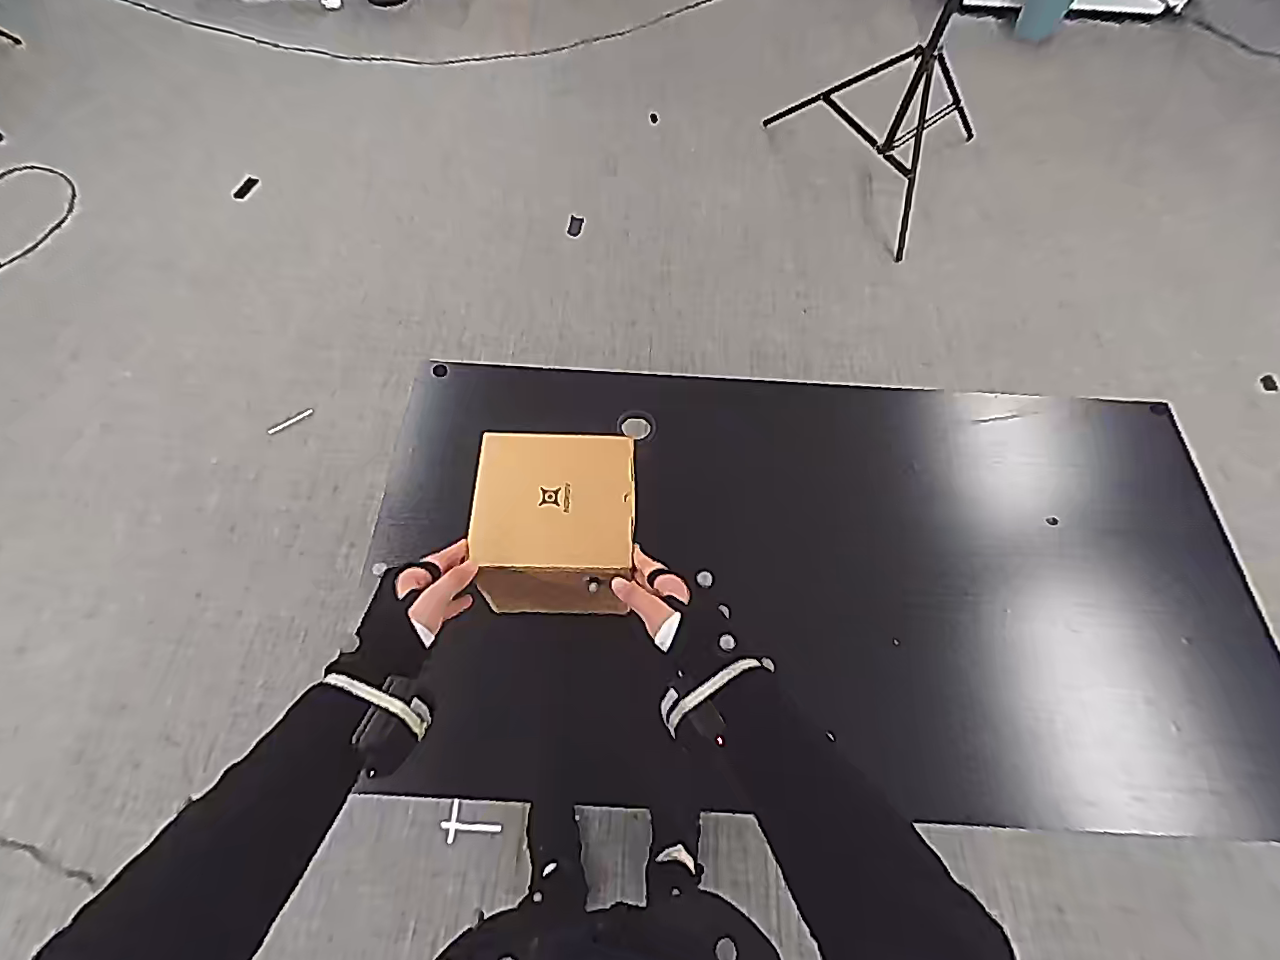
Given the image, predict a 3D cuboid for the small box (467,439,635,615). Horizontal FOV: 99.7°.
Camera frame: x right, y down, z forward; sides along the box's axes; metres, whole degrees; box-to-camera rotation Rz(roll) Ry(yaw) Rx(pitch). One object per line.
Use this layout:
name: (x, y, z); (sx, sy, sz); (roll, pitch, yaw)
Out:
small box: (-0.098, 0.065, 0.670); (0.179, 0.176, 0.168); (2, 61, -4)
